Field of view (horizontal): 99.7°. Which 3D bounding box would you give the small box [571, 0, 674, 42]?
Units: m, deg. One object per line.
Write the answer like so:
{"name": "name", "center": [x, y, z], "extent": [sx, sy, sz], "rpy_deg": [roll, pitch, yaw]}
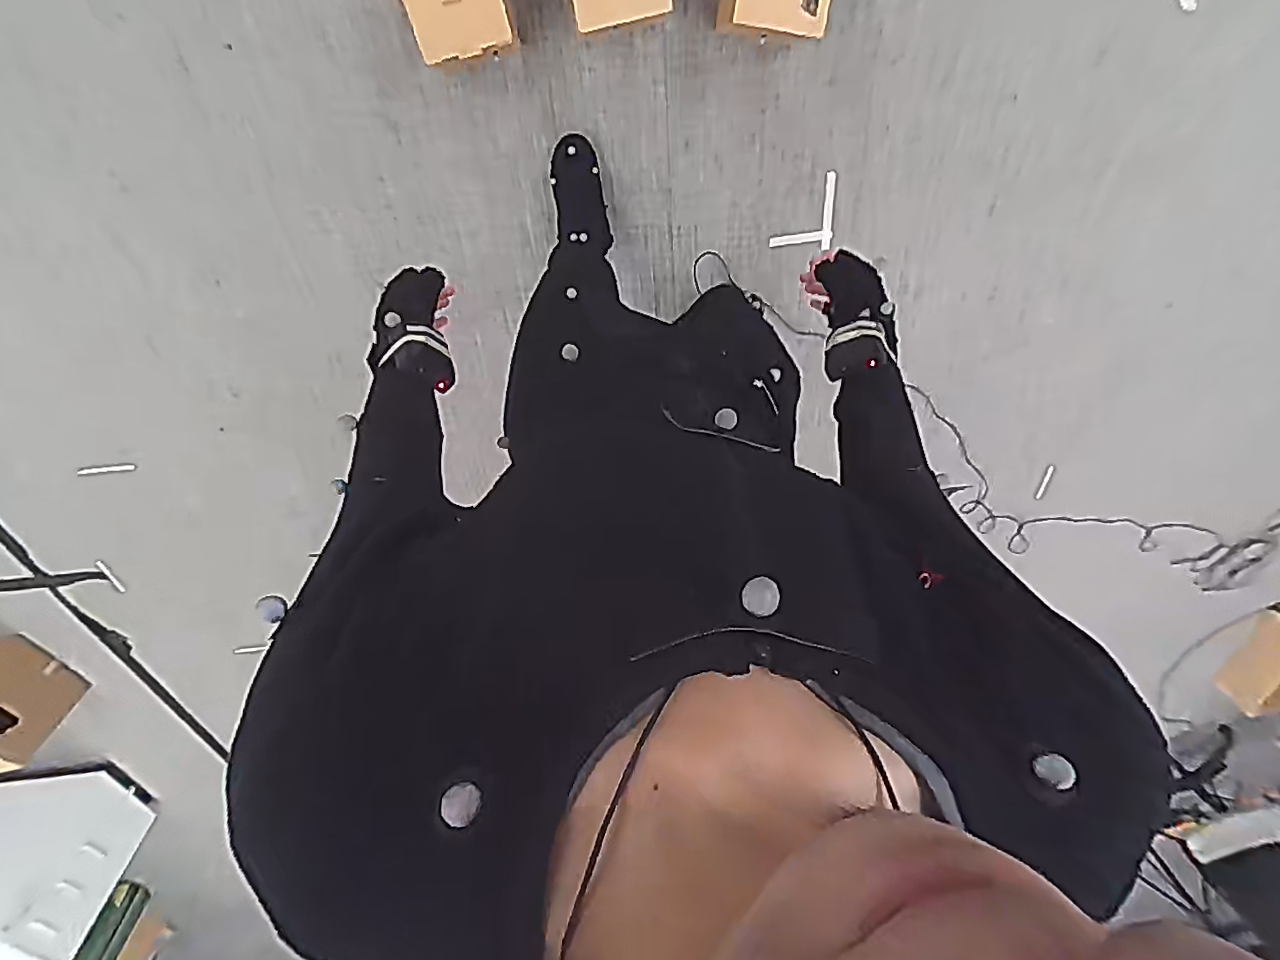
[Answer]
{"name": "small box", "center": [-0.044, -0.916, 0.974], "extent": [0.179, 0.176, 0.168], "rpy_deg": [-12, 126, 3]}

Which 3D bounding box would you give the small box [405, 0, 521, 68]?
{"name": "small box", "center": [-0.324, -0.869, 0.977], "extent": [0.168, 0.176, 0.179], "rpy_deg": [-14, 124, 3]}

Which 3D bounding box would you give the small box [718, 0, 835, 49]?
{"name": "small box", "center": [0.258, -0.922, 1.004], "extent": [0.179, 0.176, 0.168], "rpy_deg": [4, 124, -8]}
